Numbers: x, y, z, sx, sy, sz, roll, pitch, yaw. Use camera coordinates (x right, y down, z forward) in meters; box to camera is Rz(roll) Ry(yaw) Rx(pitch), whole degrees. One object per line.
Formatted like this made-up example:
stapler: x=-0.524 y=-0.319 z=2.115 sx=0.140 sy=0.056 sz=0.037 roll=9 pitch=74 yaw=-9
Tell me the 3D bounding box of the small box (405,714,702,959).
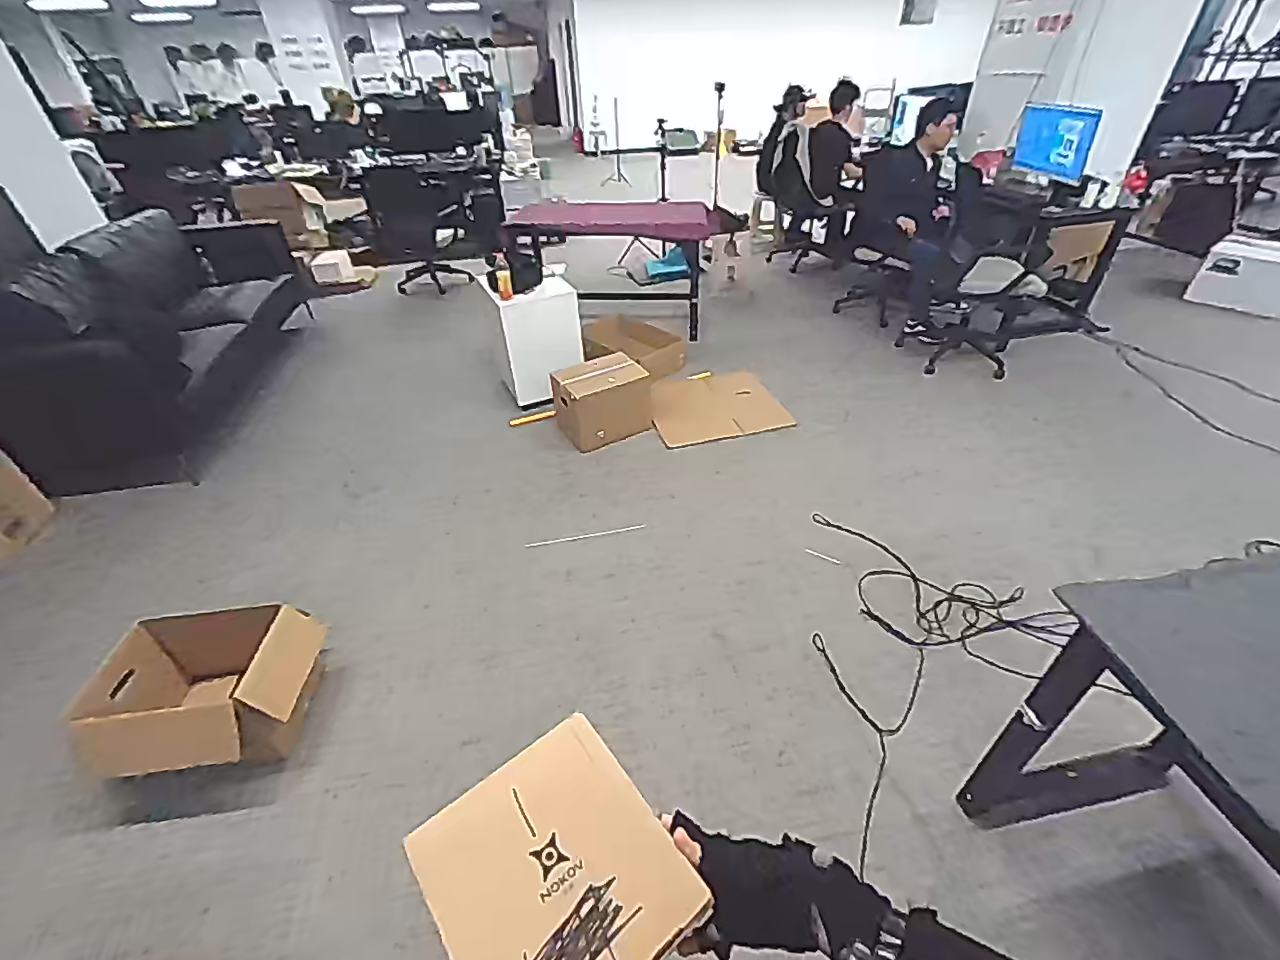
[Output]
small box: x=-0.069 y=0.349 z=0.464 sx=0.168 sy=0.176 sz=0.179 roll=-28 pitch=51 yaw=-28
